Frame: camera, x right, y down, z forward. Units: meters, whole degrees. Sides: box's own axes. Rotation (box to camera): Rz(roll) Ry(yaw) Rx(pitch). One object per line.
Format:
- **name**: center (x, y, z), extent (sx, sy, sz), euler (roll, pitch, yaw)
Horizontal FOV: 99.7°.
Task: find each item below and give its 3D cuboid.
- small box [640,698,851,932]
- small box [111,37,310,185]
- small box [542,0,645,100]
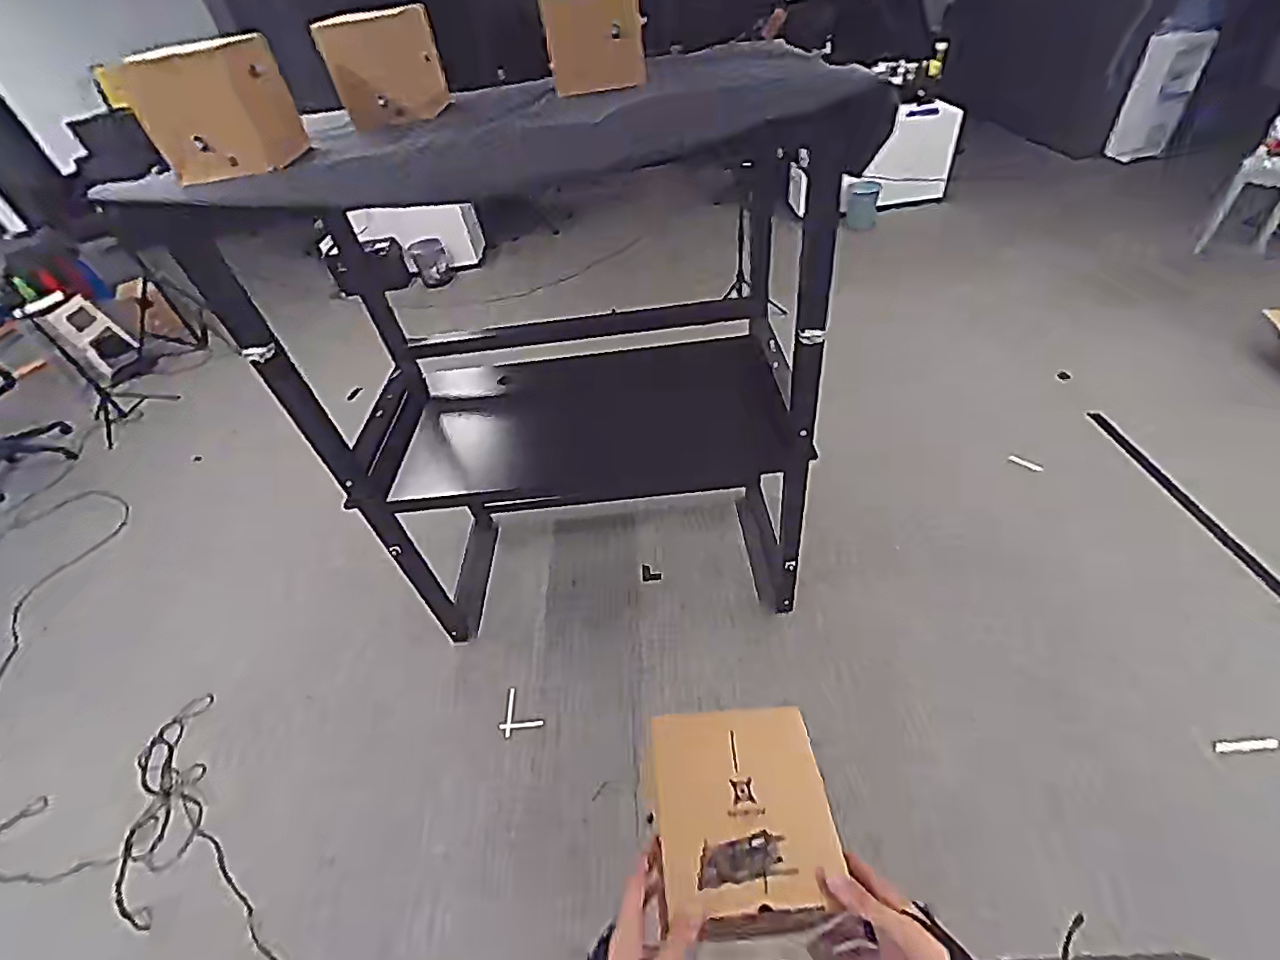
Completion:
- **small box**: center (0.091, 0.354, 0.569), extent (0.168, 0.176, 0.179), euler (-1, 45, -6)
- **small box**: center (-0.689, -0.612, 0.899), extent (0.168, 0.176, 0.179), euler (-8, 45, 1)
- **small box**: center (-0.083, -0.877, 1.072), extent (0.179, 0.176, 0.168), euler (-4, 43, 5)
